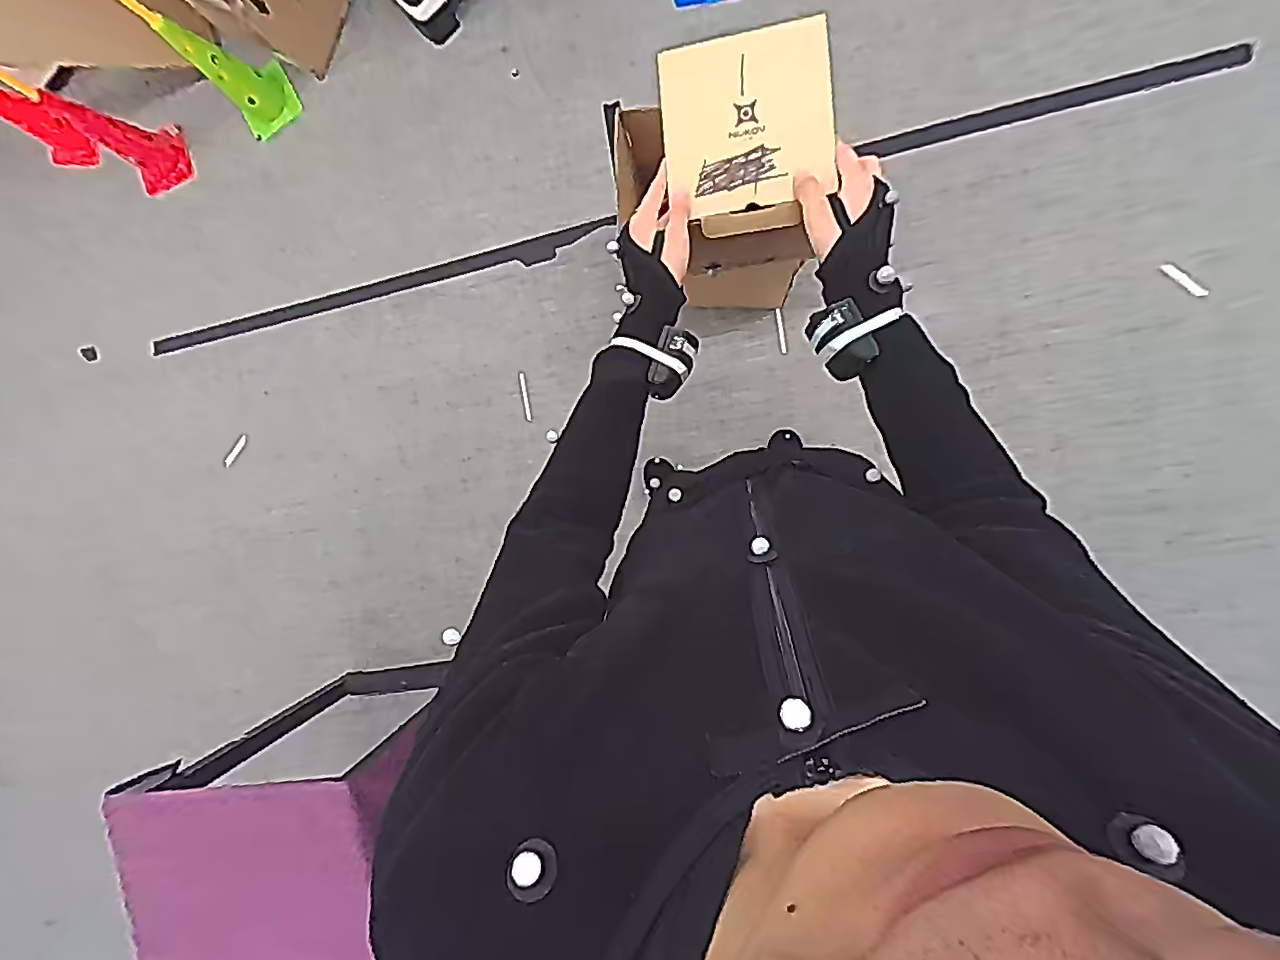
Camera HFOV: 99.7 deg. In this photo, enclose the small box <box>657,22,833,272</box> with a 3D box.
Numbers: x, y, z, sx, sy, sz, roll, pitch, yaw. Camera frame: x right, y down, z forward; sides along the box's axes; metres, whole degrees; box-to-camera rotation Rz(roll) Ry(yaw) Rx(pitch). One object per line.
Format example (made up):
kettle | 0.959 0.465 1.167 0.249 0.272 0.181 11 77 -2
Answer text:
small box | 0.119 -0.353 0.616 0.168 0.176 0.179 -5 91 11
